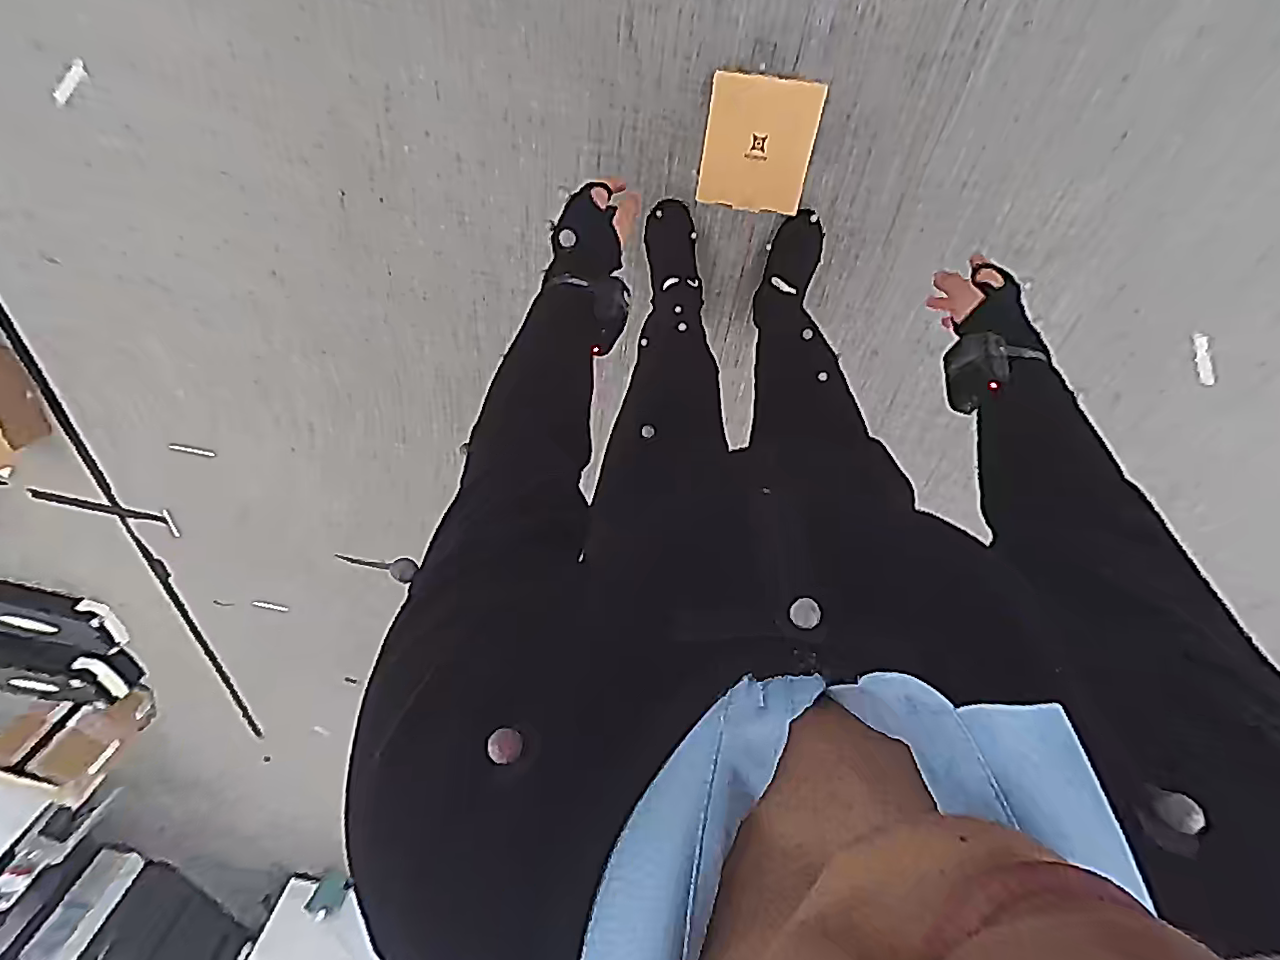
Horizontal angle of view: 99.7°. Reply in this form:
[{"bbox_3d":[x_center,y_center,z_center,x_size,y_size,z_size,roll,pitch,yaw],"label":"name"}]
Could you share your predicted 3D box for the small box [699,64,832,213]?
[{"bbox_3d":[0.191,-0.556,0.875,0.168,0.176,0.179,9,129,2],"label":"small box"}]
